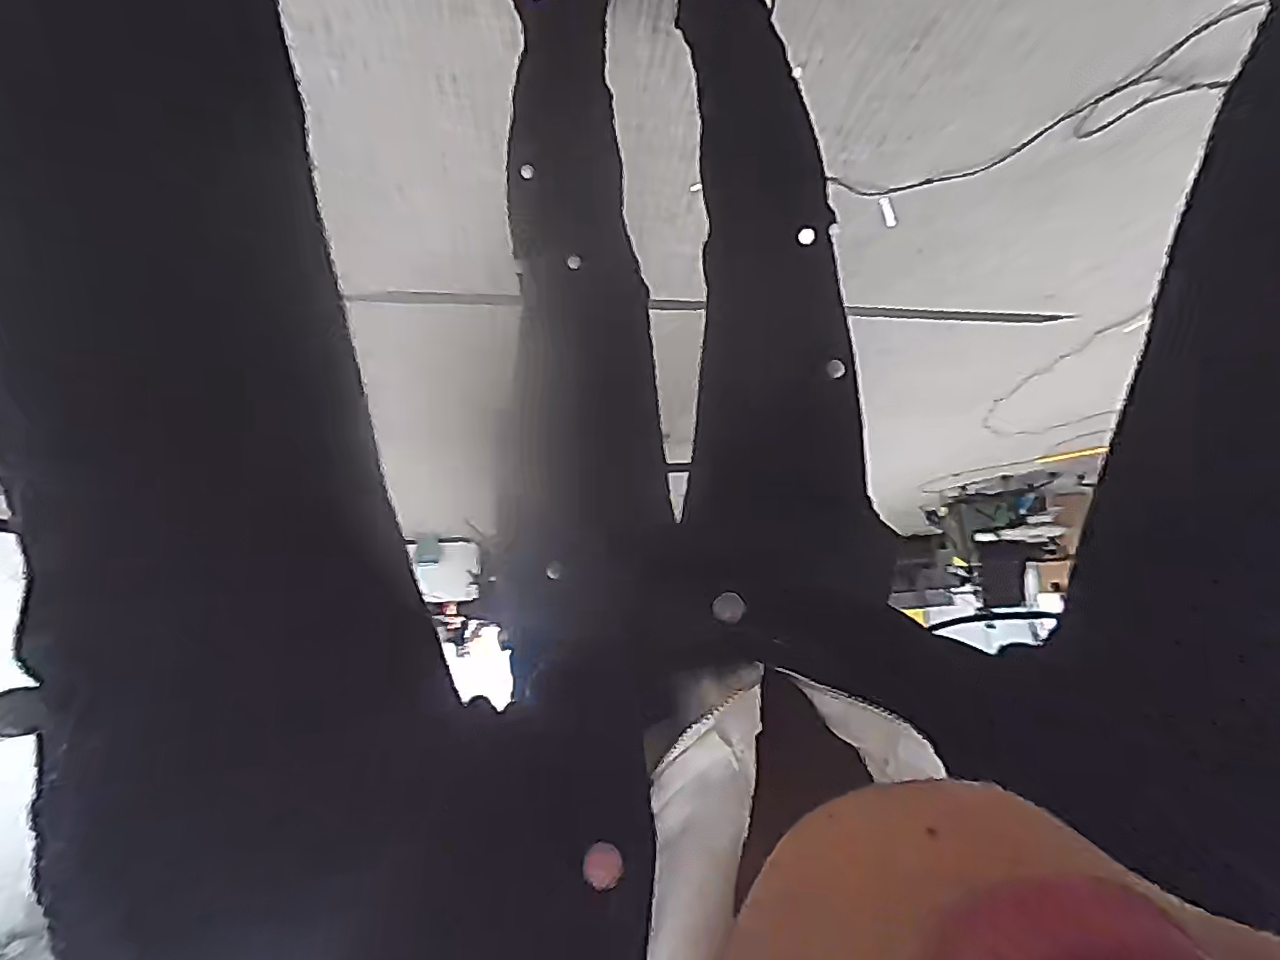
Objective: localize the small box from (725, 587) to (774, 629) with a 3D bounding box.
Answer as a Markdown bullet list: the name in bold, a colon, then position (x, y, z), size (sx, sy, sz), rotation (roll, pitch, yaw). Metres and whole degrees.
- **small box**: position (0.471, 0.558, 2.362), size (0.168, 0.176, 0.179), rotation (-1, 168, -4)
